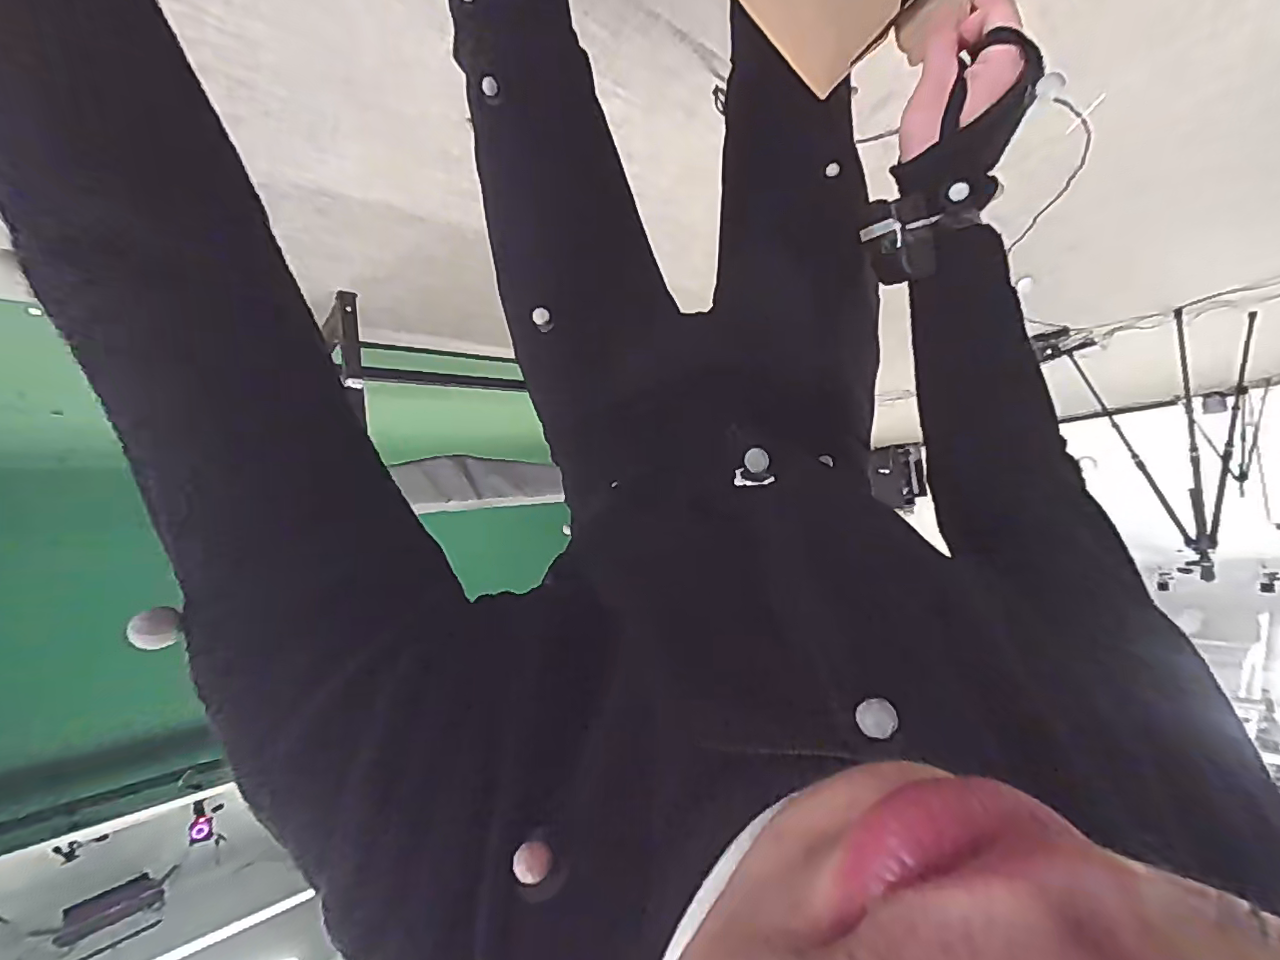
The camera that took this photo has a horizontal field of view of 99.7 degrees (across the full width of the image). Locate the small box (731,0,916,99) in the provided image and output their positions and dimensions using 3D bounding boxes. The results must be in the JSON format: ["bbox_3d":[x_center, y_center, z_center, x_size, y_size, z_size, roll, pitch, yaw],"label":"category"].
[{"bbox_3d":[0.159,-0.435,0.381,0.179,0.176,0.168,41,153,-12],"label":"small box"}]
